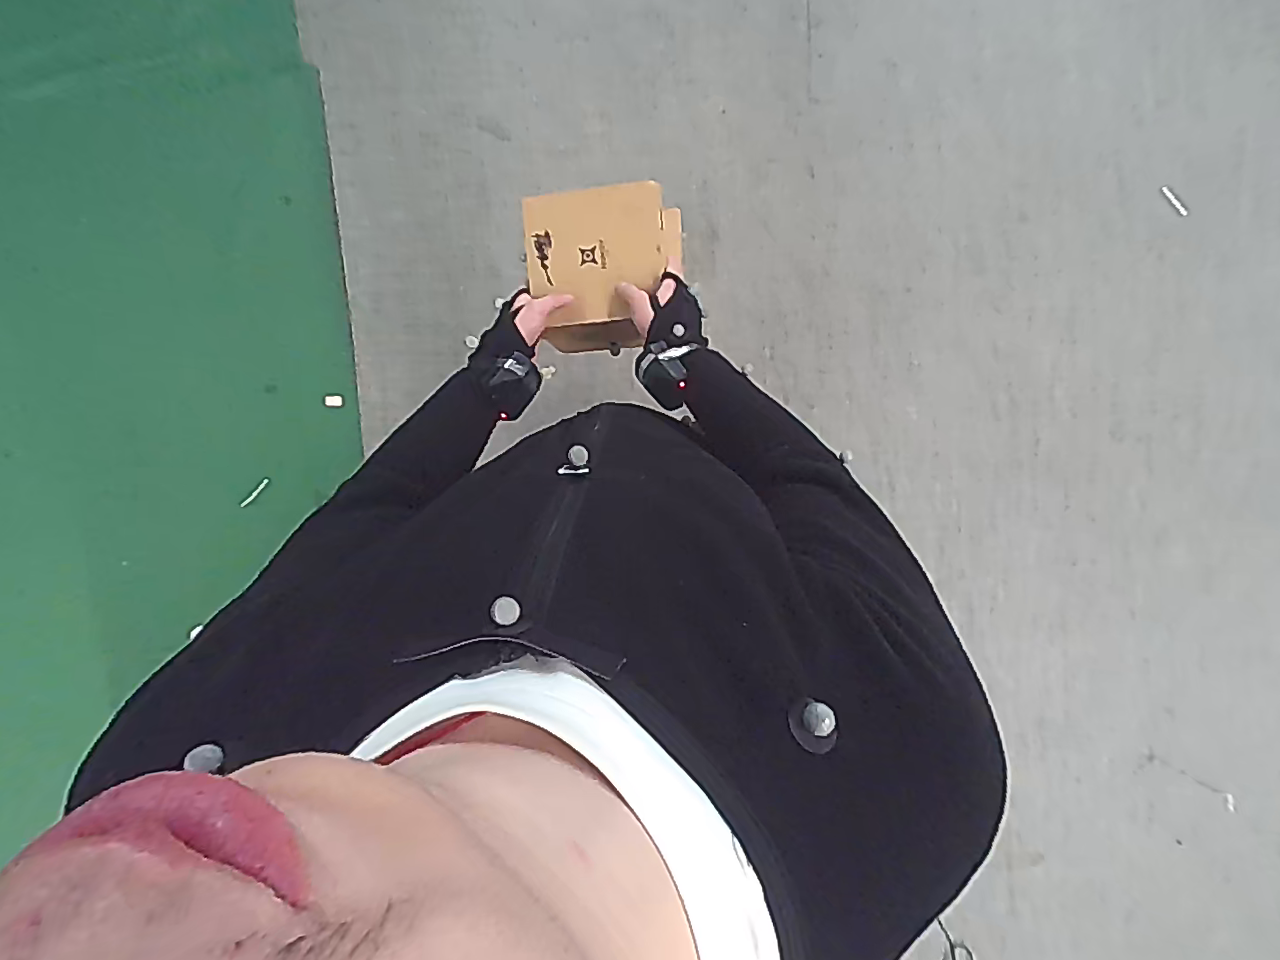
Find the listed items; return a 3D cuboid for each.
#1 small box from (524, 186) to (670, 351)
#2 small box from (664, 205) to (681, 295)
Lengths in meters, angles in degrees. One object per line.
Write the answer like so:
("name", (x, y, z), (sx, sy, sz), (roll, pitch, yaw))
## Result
("small box", (-0.050, -0.281, 0.754), (0.179, 0.176, 0.168), (-4, 92, 5))
("small box", (0.023, -0.592, 1.410), (0.168, 0.176, 0.179), (-1, 97, 4))
